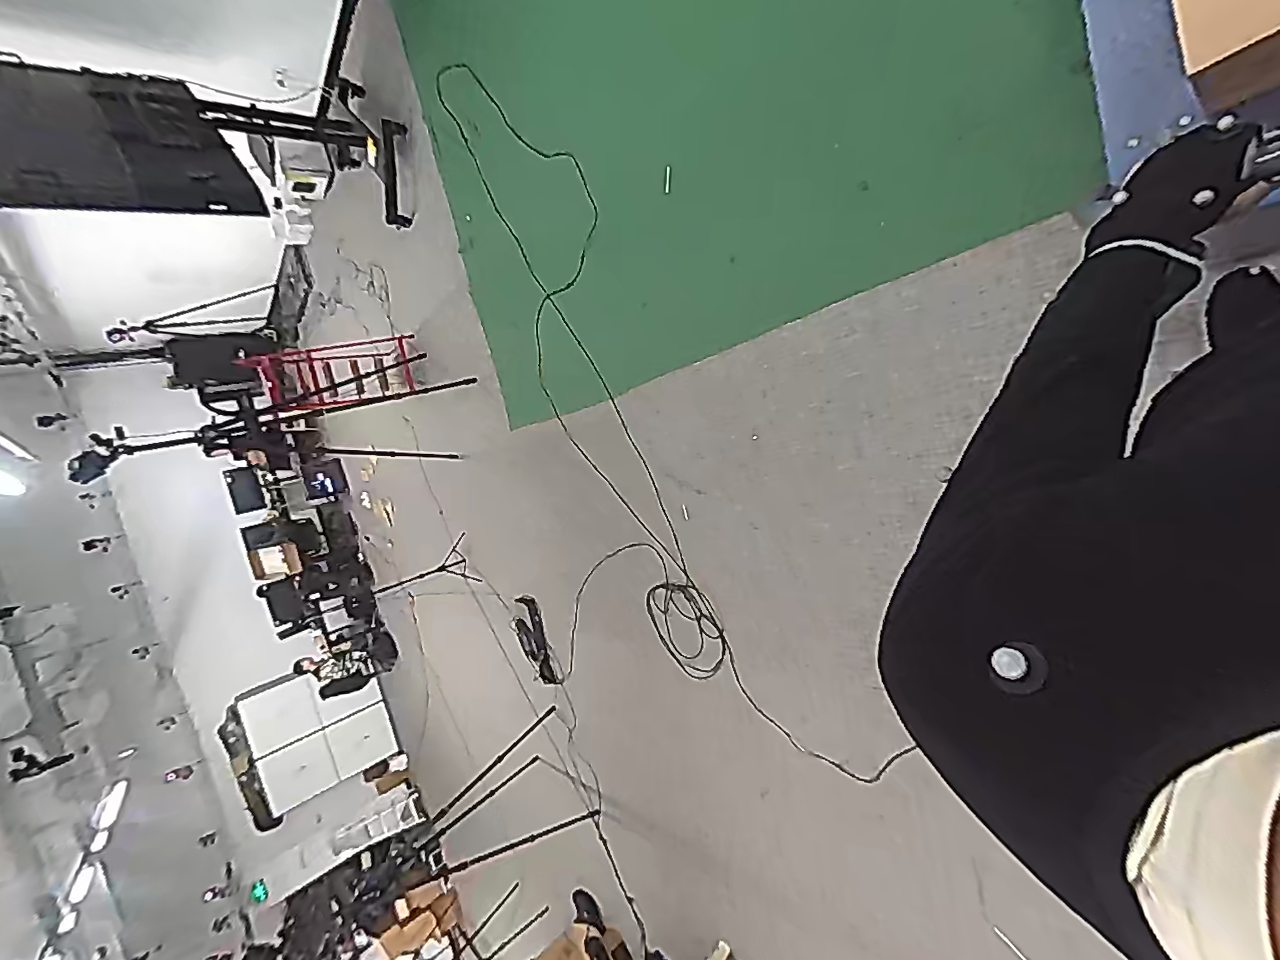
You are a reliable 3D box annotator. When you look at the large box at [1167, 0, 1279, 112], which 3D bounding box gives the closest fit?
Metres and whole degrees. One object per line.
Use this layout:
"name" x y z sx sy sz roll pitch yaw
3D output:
"large box" 0.934 -0.815 0.732 0.320 0.320 0.408 -11 95 51
